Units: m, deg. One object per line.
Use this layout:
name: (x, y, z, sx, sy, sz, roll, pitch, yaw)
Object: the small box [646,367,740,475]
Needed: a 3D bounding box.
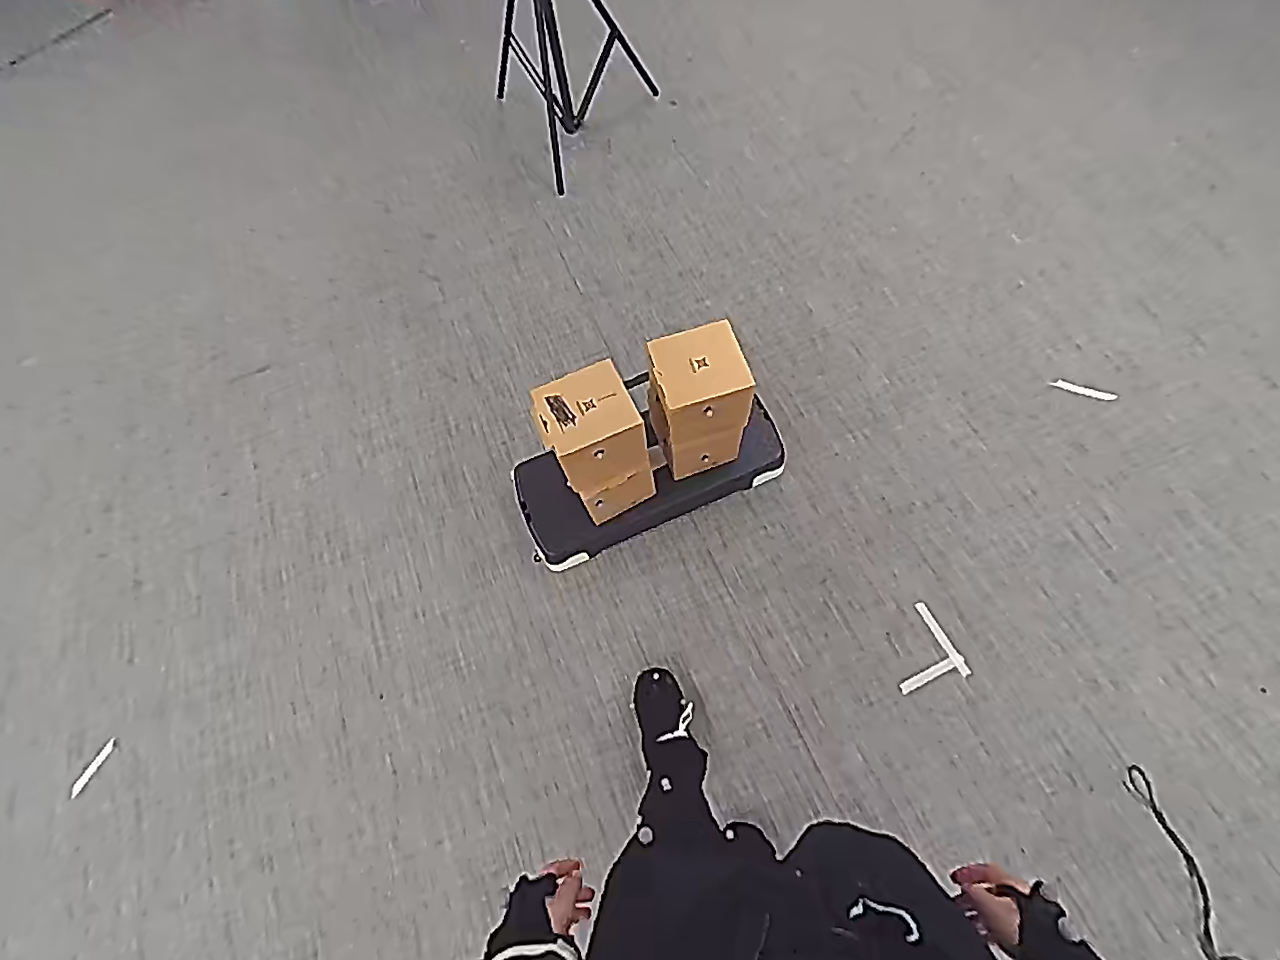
small box: (0.124, -0.128, 1.272, 0.168, 0.176, 0.179, -19, 67, -3)
